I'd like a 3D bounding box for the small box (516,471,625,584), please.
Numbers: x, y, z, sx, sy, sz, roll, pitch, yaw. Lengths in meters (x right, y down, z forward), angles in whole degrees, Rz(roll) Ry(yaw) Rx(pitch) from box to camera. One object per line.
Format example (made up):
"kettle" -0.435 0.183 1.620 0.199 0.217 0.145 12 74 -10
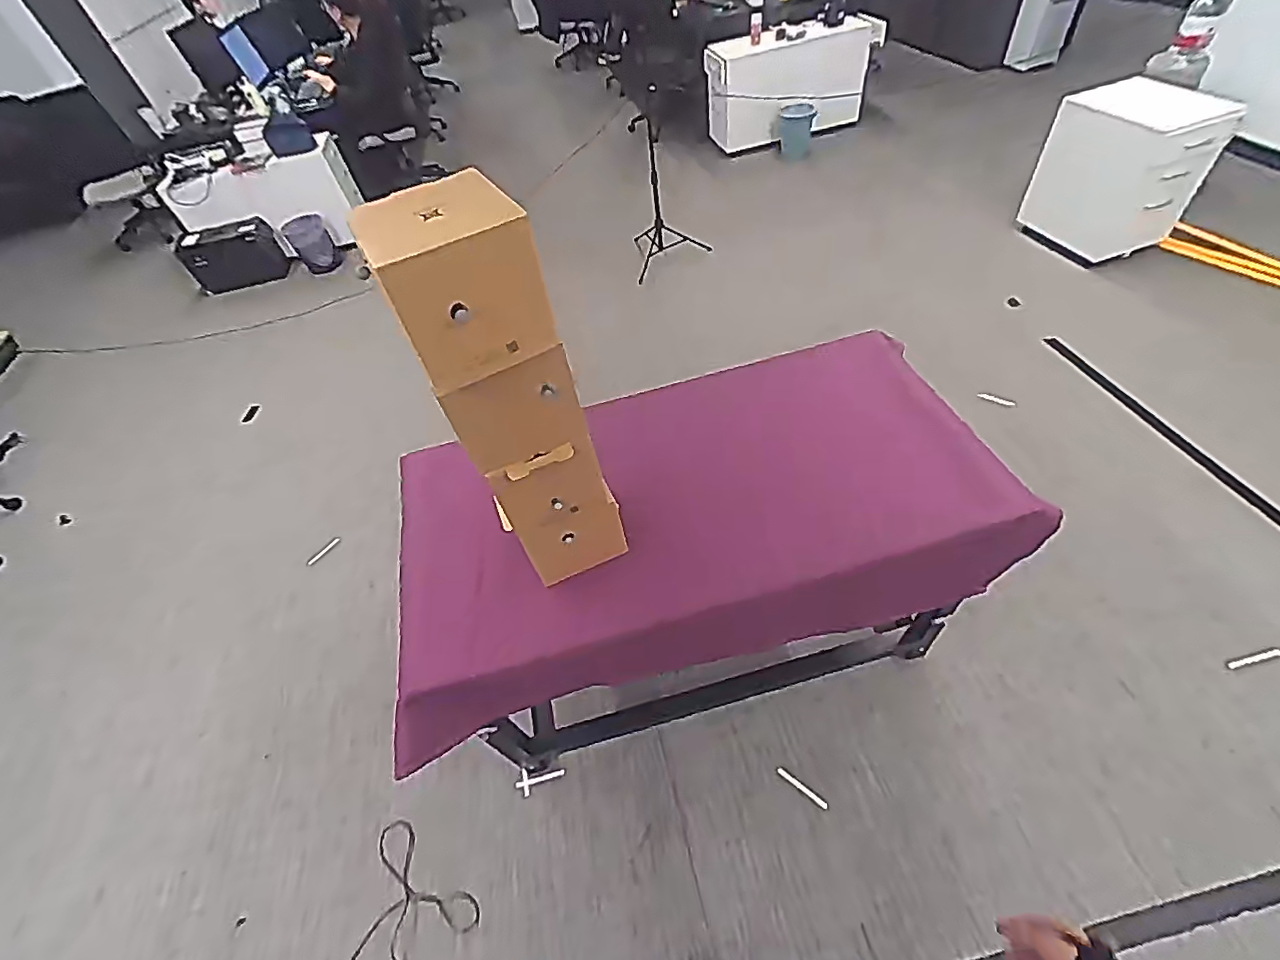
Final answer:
"small box" -0.145 0.070 1.031 0.179 0.176 0.168 -22 51 -10

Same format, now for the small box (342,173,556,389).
"small box" -0.220 -0.233 0.651 0.168 0.176 0.179 -29 51 -15

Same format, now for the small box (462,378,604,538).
"small box" -0.175 -0.035 0.909 0.168 0.176 0.179 -24 51 -10
